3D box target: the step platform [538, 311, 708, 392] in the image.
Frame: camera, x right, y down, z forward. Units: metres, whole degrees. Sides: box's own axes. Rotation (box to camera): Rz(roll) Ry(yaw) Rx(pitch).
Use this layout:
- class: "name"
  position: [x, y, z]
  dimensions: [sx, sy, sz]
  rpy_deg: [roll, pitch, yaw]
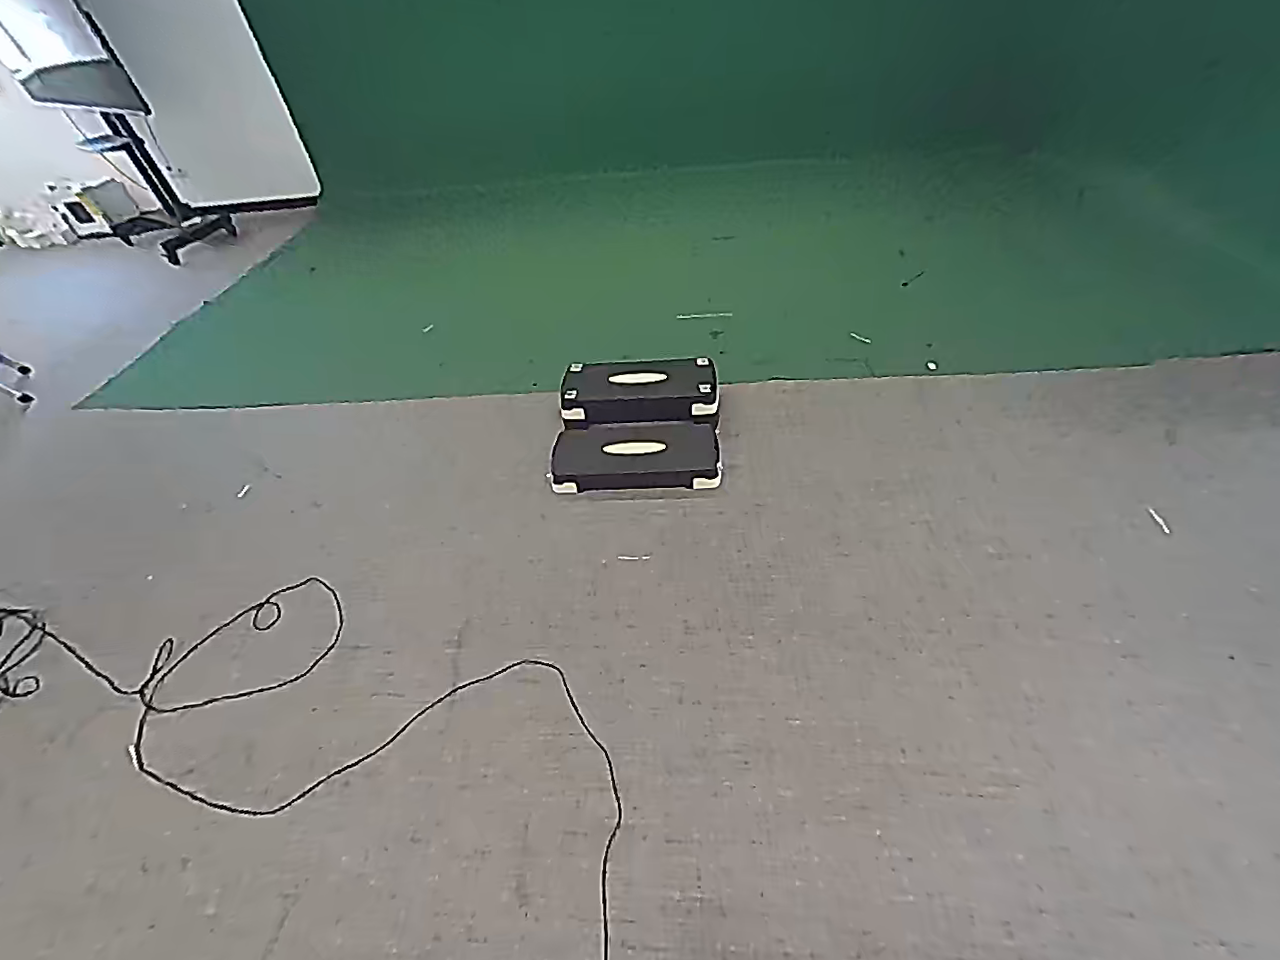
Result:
- class: "step platform"
  position: [-0.064, -0.532, 2.245]
  dimensions: [0.684, 0.204, 0.286]
  rpy_deg: [-2, 46, 5]
